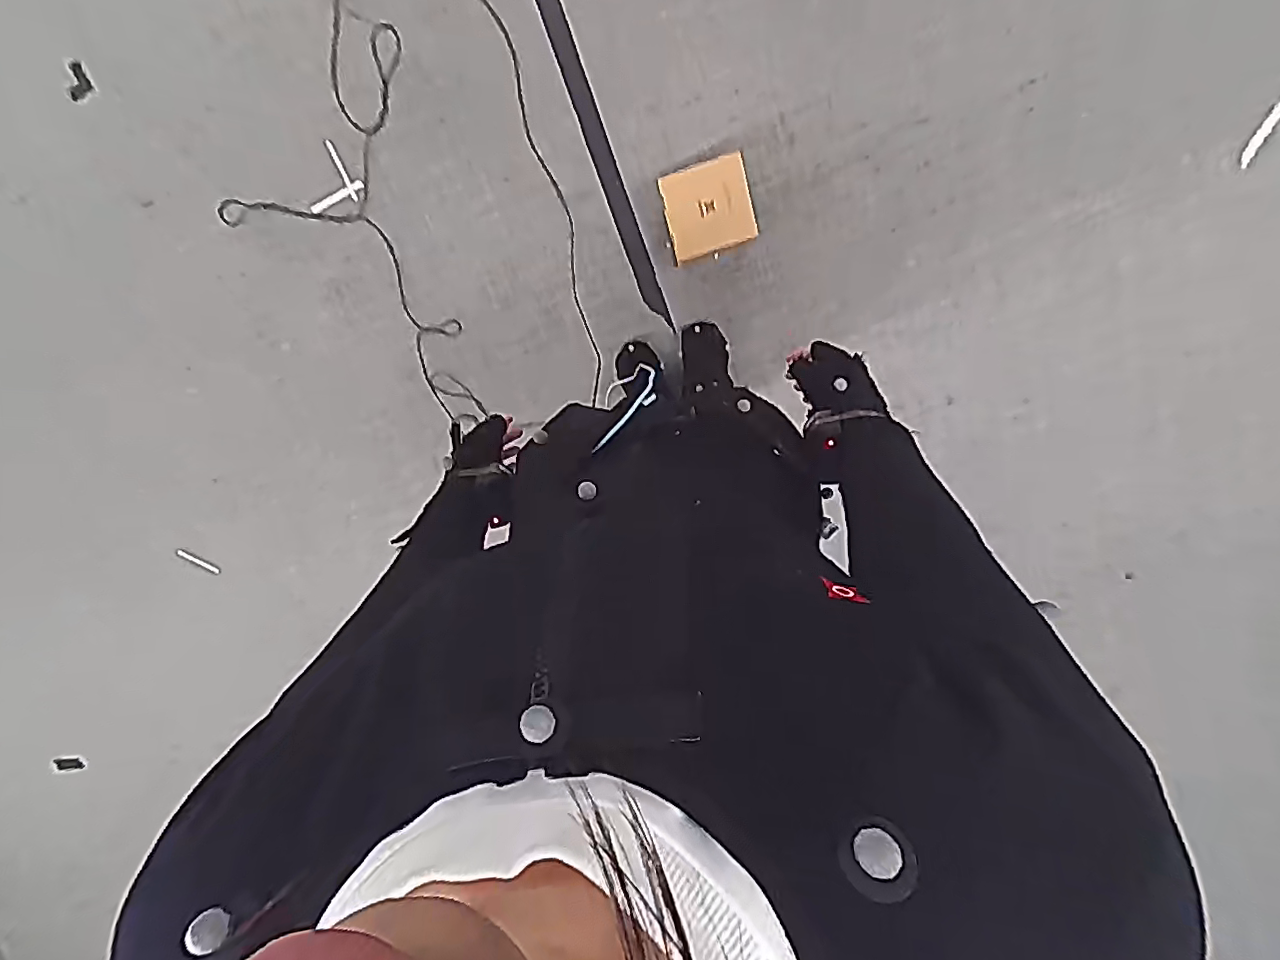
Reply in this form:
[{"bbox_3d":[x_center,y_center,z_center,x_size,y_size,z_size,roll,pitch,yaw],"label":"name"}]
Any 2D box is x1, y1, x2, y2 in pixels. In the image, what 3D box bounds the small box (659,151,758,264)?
[{"bbox_3d":[0.150,-0.588,1.192,0.179,0.176,0.168,-14,106,9],"label":"small box"}]
